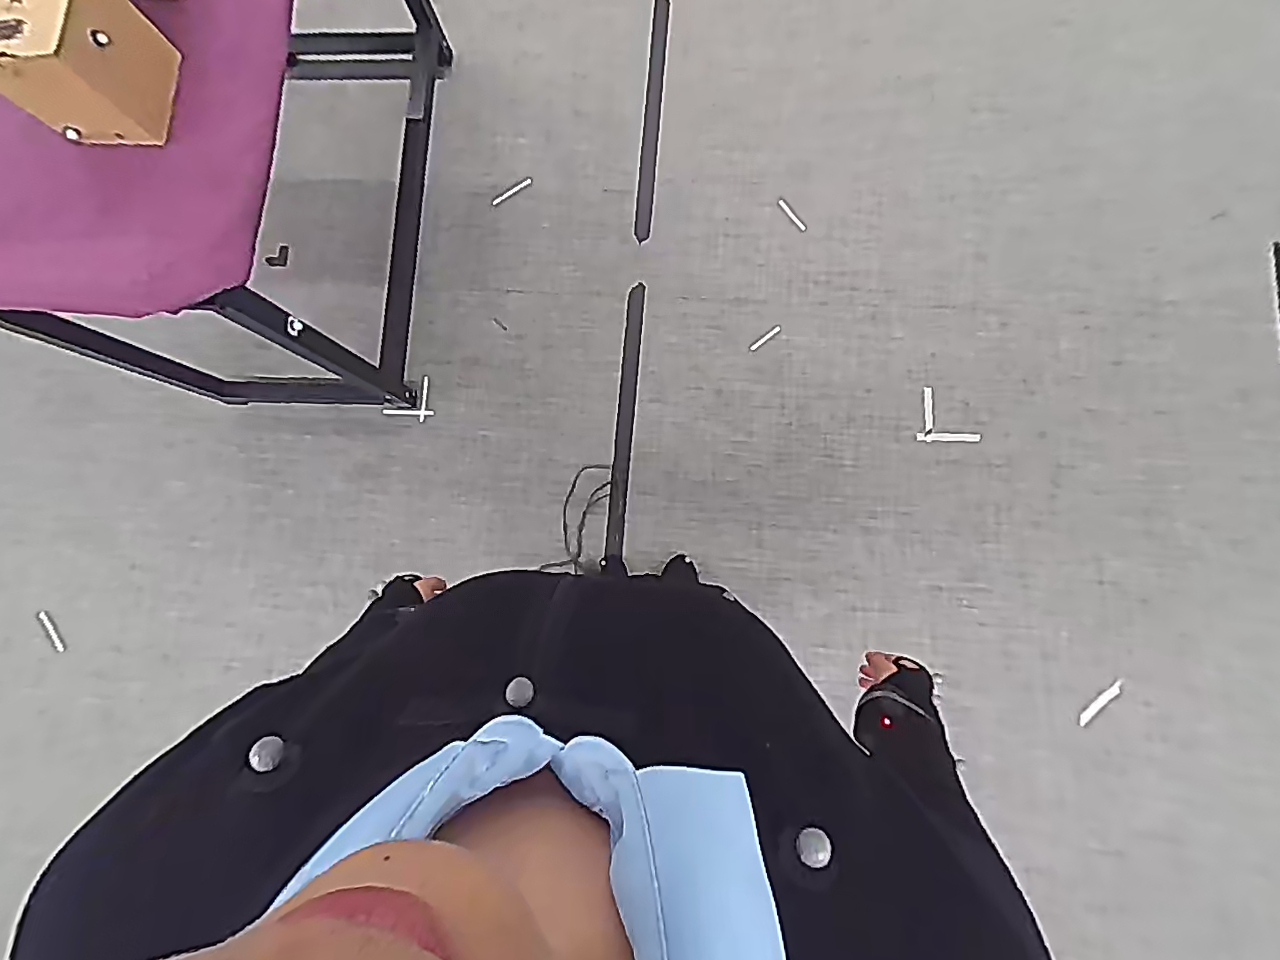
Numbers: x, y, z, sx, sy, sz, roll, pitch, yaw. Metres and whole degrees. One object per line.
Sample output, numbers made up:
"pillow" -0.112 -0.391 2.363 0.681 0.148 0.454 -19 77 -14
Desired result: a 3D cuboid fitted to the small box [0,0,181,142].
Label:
"small box" -0.877 -0.667 0.849 0.168 0.176 0.179 3 82 3
